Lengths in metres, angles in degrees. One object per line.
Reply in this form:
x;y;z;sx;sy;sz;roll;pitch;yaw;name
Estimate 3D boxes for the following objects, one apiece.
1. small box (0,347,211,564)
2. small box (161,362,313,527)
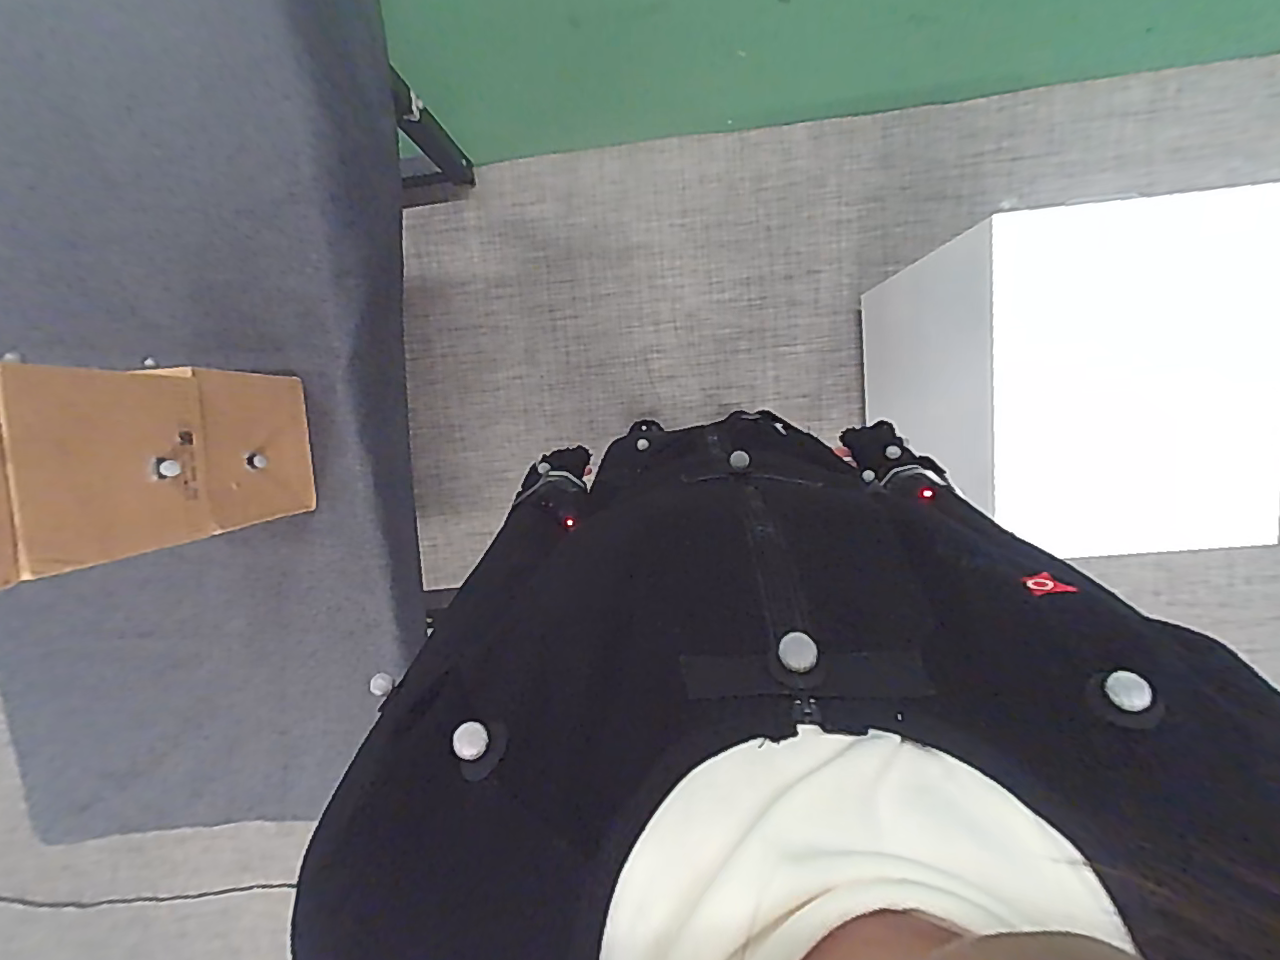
-0.546;-0.024;0.491;0.179;0.176;0.168;-2;97;7;small box
-0.528;-0.046;0.653;0.168;0.176;0.179;-2;98;5;small box
